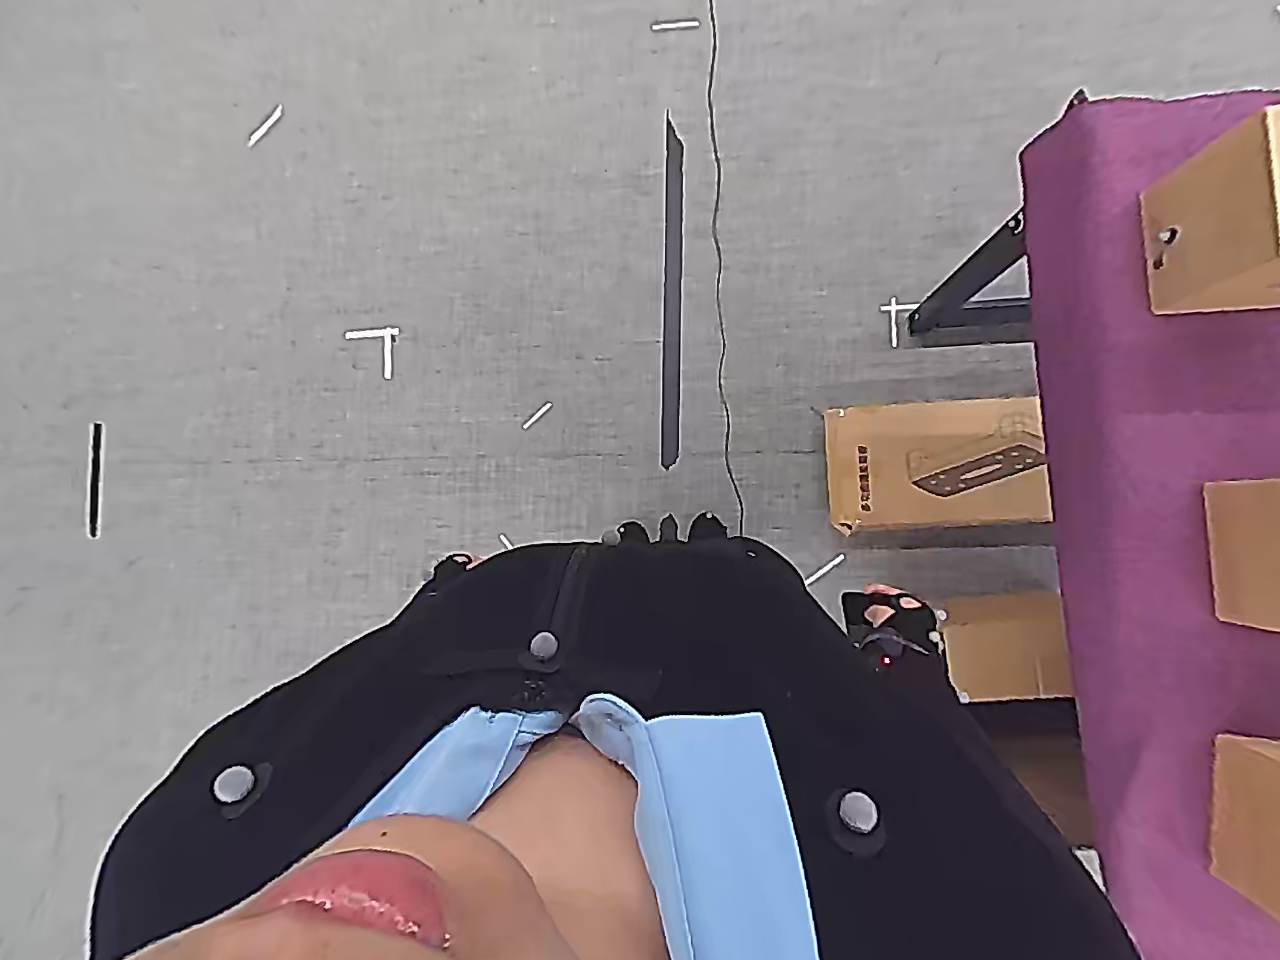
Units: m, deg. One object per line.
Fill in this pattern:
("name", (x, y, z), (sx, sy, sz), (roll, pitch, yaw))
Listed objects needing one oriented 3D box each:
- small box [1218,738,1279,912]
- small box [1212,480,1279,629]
("small box", (0.788, 0.402, 0.580), (0.168, 0.176, 0.179), (5, 87, 7))
("small box", (0.801, 0.084, 0.597), (0.168, 0.176, 0.179), (-2, 86, 4))
